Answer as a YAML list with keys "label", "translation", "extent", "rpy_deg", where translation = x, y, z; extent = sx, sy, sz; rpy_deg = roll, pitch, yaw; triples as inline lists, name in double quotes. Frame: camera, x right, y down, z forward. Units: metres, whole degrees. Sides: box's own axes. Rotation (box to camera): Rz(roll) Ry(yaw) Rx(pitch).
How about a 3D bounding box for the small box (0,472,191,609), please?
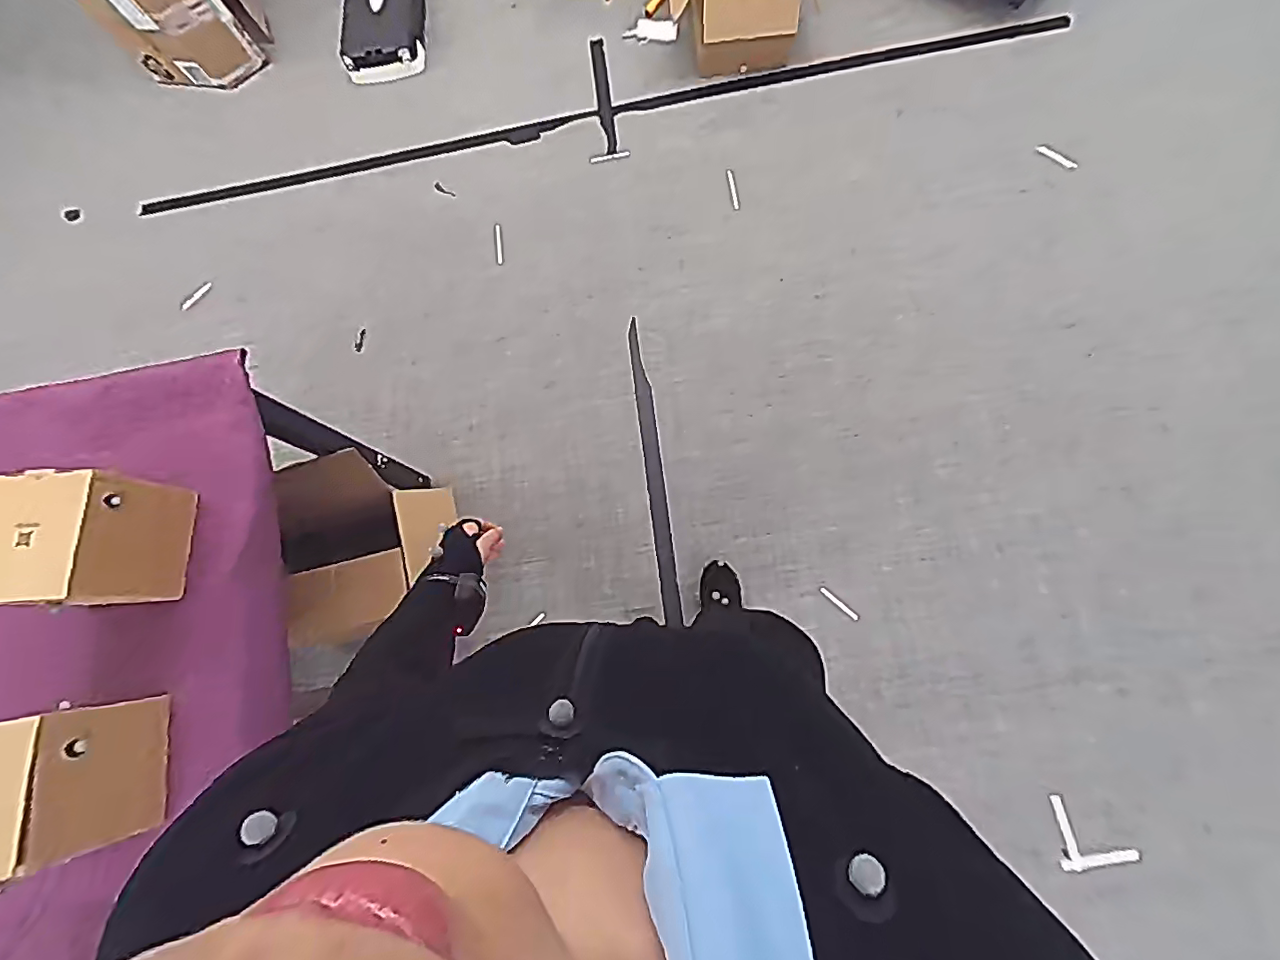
- label: "small box"
  translation: [-0.809, 0.096, 0.789]
  extent: [0.168, 0.176, 0.179]
  rpy_deg: [-4, 75, 4]

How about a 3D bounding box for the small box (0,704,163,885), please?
- label: "small box"
  translation: [-0.778, 0.403, 0.708]
  extent: [0.168, 0.176, 0.179]
  rpy_deg: [-12, 75, 5]
